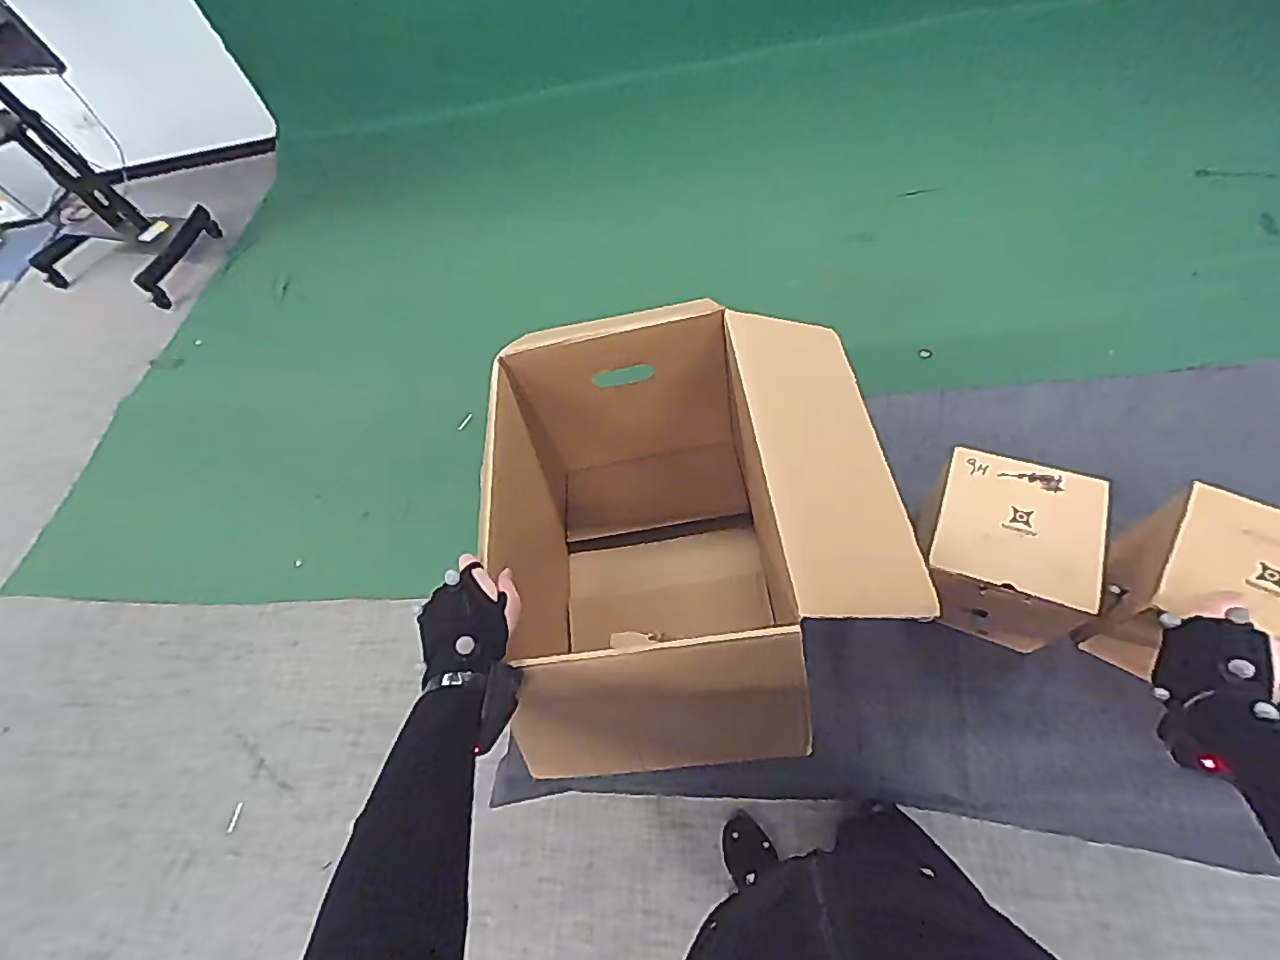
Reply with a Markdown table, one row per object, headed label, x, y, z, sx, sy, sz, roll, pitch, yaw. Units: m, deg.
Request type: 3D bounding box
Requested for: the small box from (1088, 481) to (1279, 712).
| label | x | y | z | sx | sy | sz | roll | pitch | yaw |
| --- | --- | --- | --- | --- | --- | --- | --- | --- | --- |
| small box | 0.662 | 0.139 | 0.618 | 0.168 | 0.176 | 0.179 | 27 | 69 | 24 |
